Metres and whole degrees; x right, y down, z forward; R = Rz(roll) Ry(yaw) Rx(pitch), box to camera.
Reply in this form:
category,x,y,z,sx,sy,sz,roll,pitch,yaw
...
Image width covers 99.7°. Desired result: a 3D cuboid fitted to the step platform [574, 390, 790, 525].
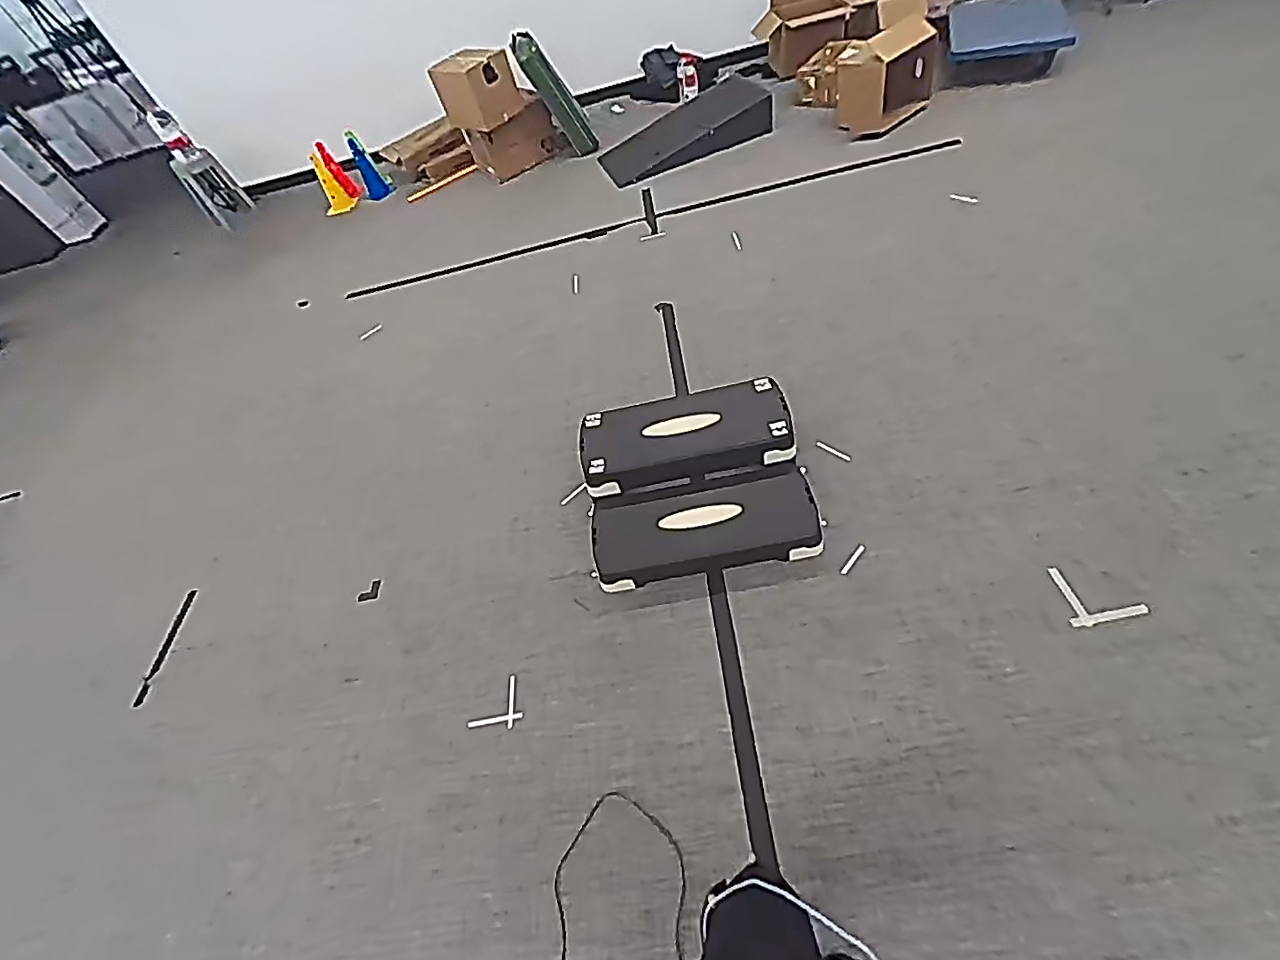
category,x,y,z,sx,sy,sz,roll,pitch,yaw
step platform,0.130,-0.075,1.760,0.684,0.204,0.286,-12,52,4
